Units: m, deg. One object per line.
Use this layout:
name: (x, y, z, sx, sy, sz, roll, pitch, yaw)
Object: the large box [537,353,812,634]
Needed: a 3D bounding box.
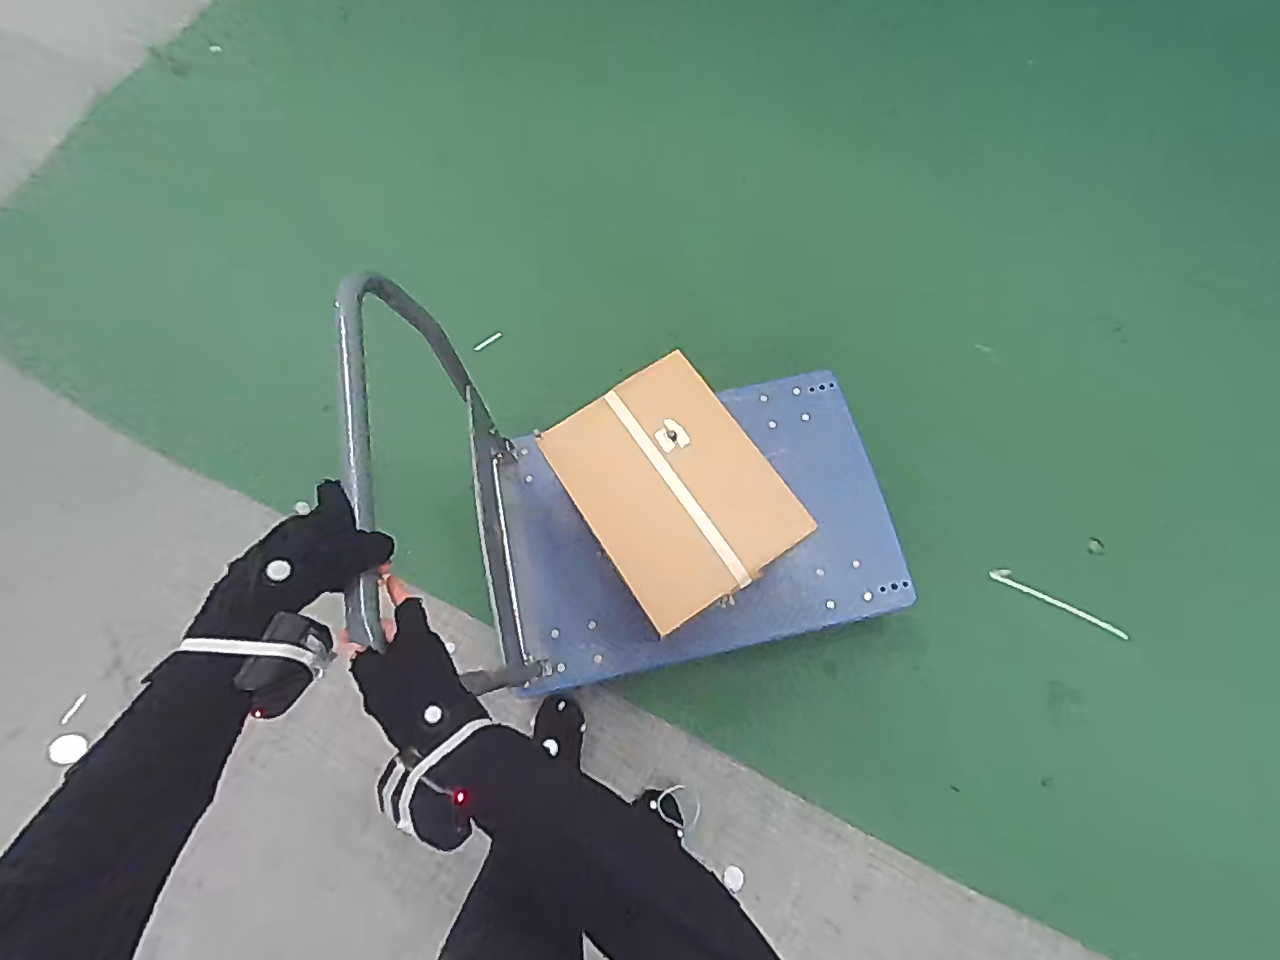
large box: (0.061, 0.045, 1.061, 0.320, 0.320, 0.408, -32, 73, -7)
